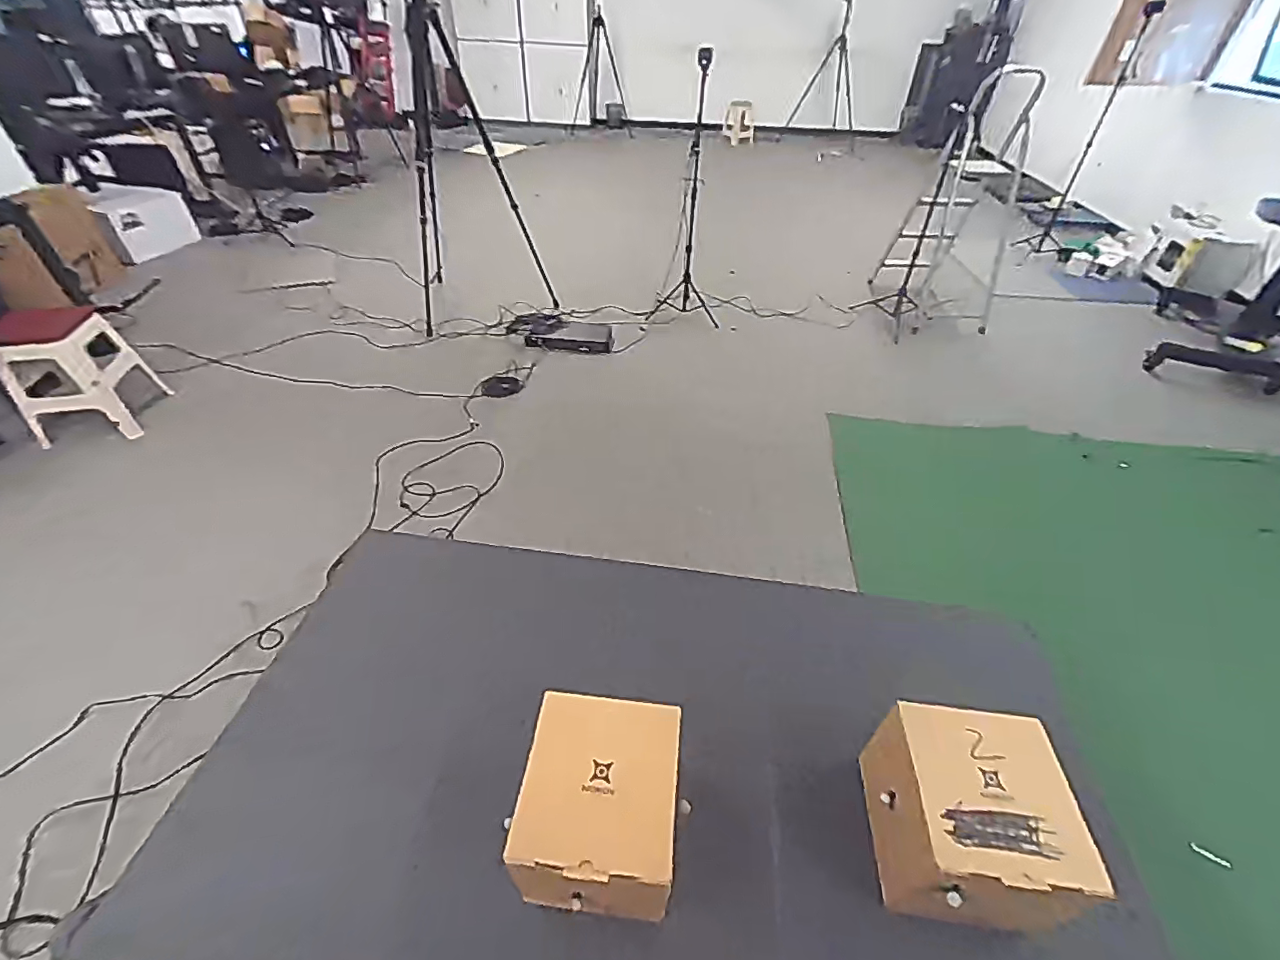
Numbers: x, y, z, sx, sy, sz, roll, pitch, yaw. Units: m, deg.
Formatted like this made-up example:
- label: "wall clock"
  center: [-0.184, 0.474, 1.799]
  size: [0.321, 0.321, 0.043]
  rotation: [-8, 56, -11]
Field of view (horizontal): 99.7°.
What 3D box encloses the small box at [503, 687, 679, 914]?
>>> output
- label: "small box"
  center: [-0.049, 0.374, 0.634]
  size: [0.168, 0.176, 0.179]
  rotation: [6, 43, 3]
